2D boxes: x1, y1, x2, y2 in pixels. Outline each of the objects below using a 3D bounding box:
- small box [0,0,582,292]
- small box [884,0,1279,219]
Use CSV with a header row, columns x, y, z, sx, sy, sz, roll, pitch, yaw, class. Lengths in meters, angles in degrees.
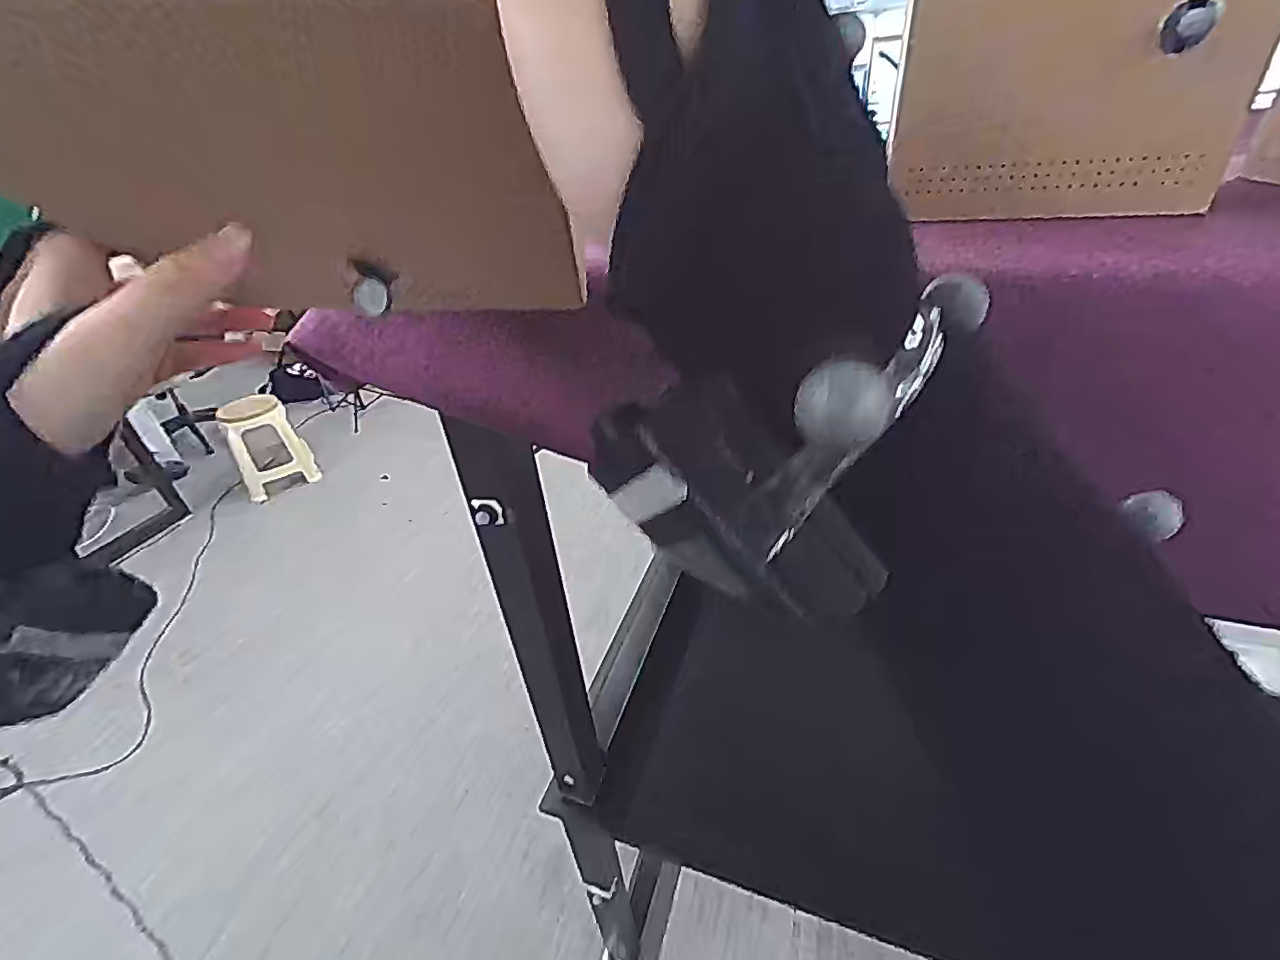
x,y,z,sx,sy,sz,roll,pitch,yaw,class
-0.111,-0.176,0.181,0.179,0.168,0.176,0,-5,-2,small box
0.264,-0.272,0.342,0.179,0.176,0.168,8,35,19,small box
